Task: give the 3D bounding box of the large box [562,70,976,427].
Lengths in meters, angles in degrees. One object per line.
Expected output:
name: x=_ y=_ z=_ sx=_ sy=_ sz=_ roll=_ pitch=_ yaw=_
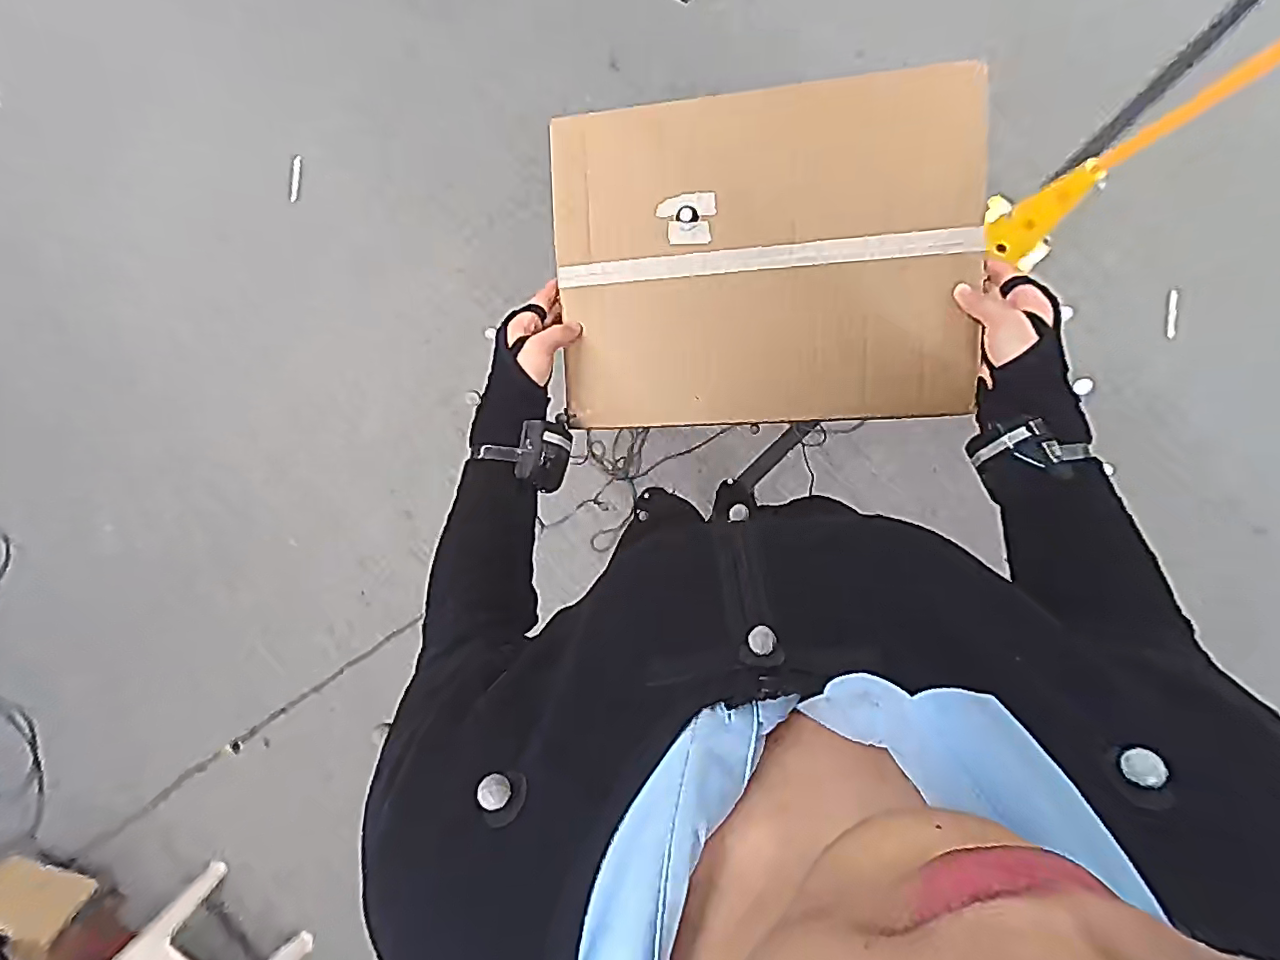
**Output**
large box: x=0.147 y=-0.234 z=0.688 sx=0.408 sy=0.320 sz=0.320 roll=-1 pitch=95 yaw=10
